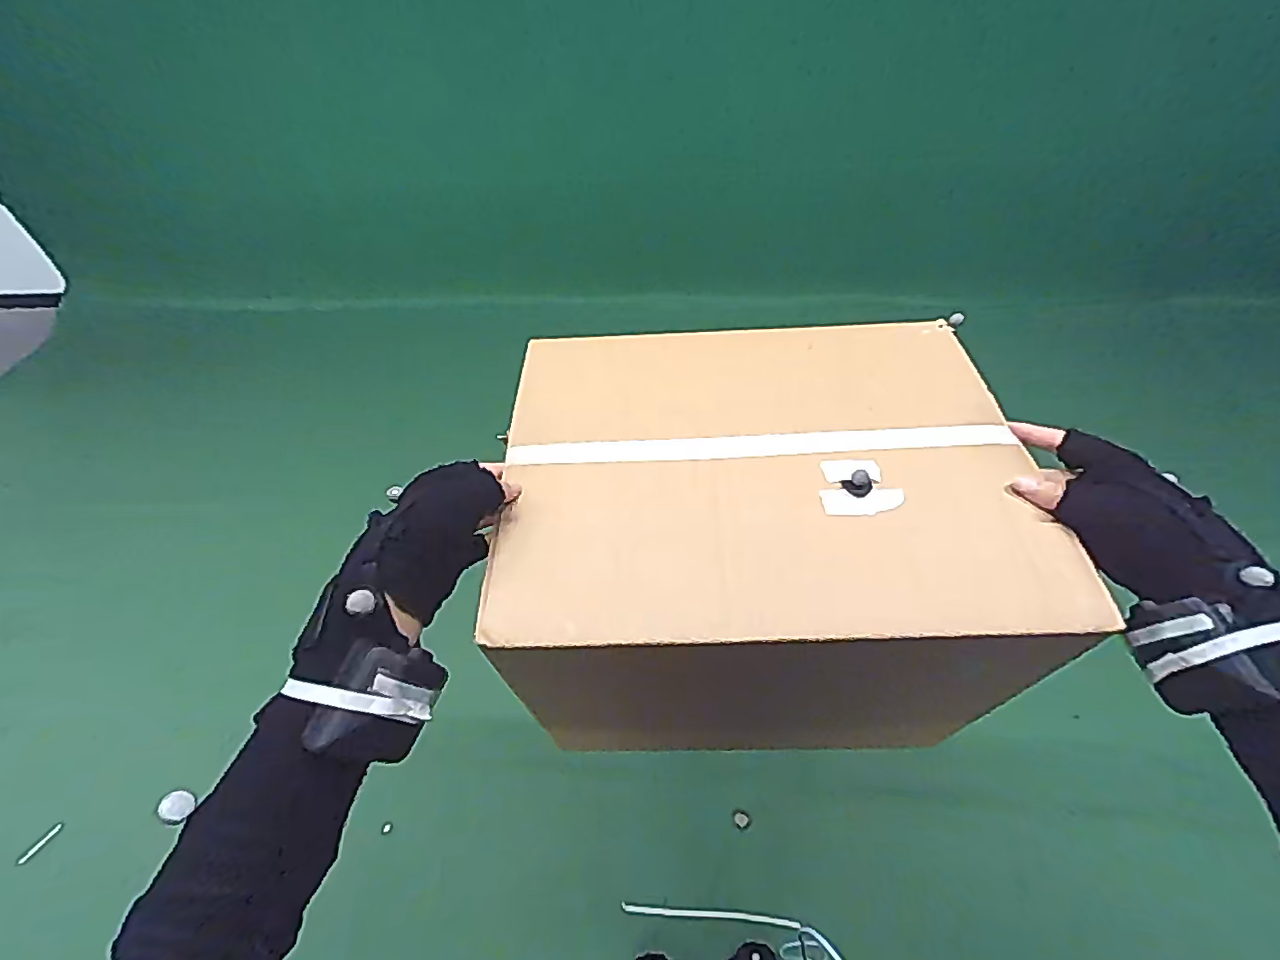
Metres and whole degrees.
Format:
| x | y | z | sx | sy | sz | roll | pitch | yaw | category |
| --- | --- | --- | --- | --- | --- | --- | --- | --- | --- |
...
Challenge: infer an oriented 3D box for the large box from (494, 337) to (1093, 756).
| x | y | z | sx | sy | sz | roll | pitch | yaw | category |
| --- | --- | --- | --- | --- | --- | --- | --- | --- | --- |
| 0.102 | 0.080 | 0.563 | 0.408 | 0.320 | 0.320 | -2 | 52 | 3 | large box |
